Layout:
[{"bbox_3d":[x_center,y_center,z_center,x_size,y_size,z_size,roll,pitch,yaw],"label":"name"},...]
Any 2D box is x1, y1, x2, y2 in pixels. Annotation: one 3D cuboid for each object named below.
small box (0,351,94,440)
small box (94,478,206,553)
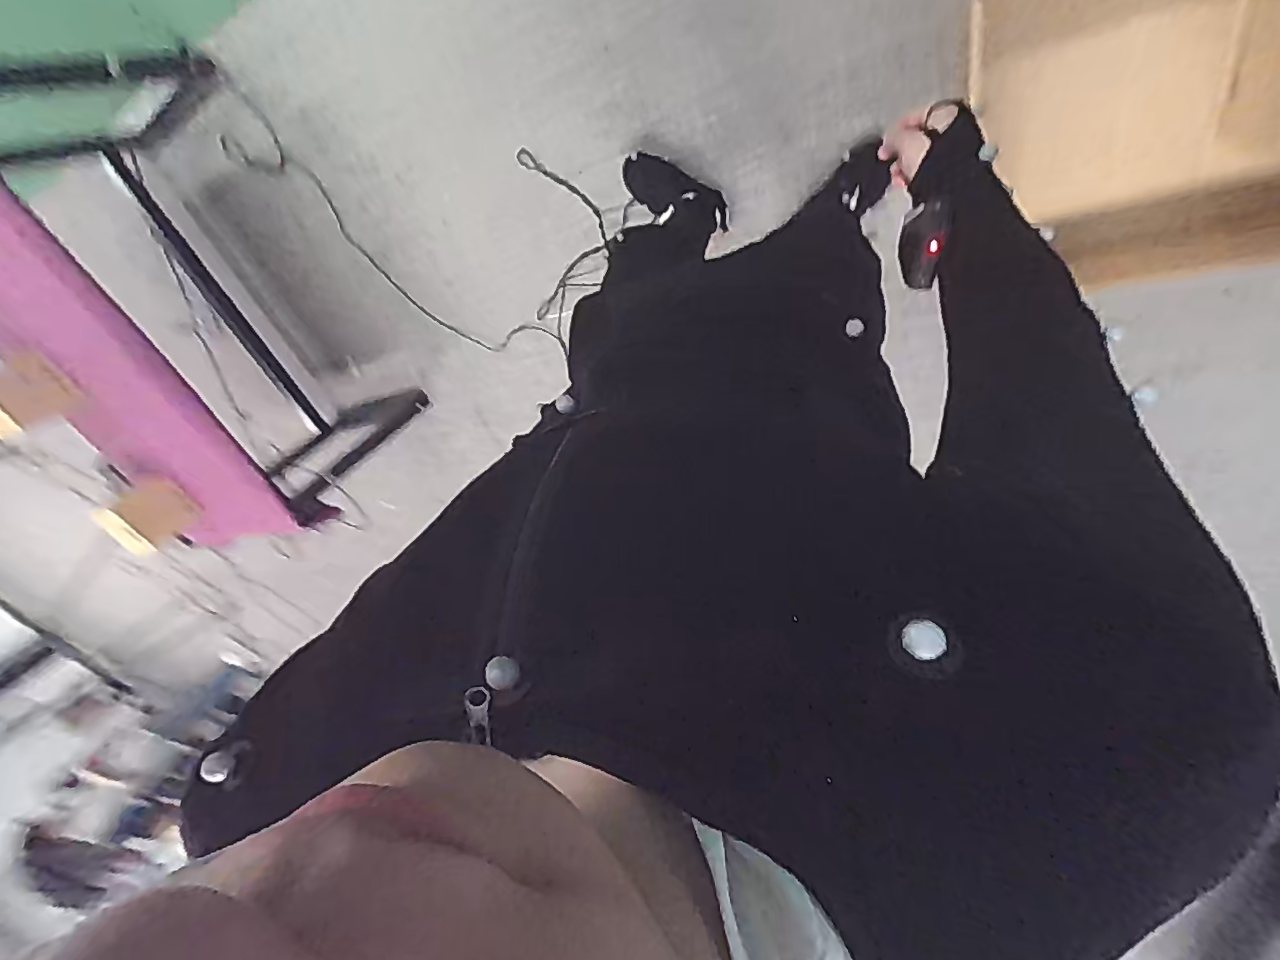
[{"bbox_3d":[-1.655,-0.231,1.465,0.179,0.176,0.168,-7,123,29],"label":"small box"},{"bbox_3d":[-1.499,0.107,1.668,0.179,0.176,0.168,-7,123,30],"label":"small box"}]
